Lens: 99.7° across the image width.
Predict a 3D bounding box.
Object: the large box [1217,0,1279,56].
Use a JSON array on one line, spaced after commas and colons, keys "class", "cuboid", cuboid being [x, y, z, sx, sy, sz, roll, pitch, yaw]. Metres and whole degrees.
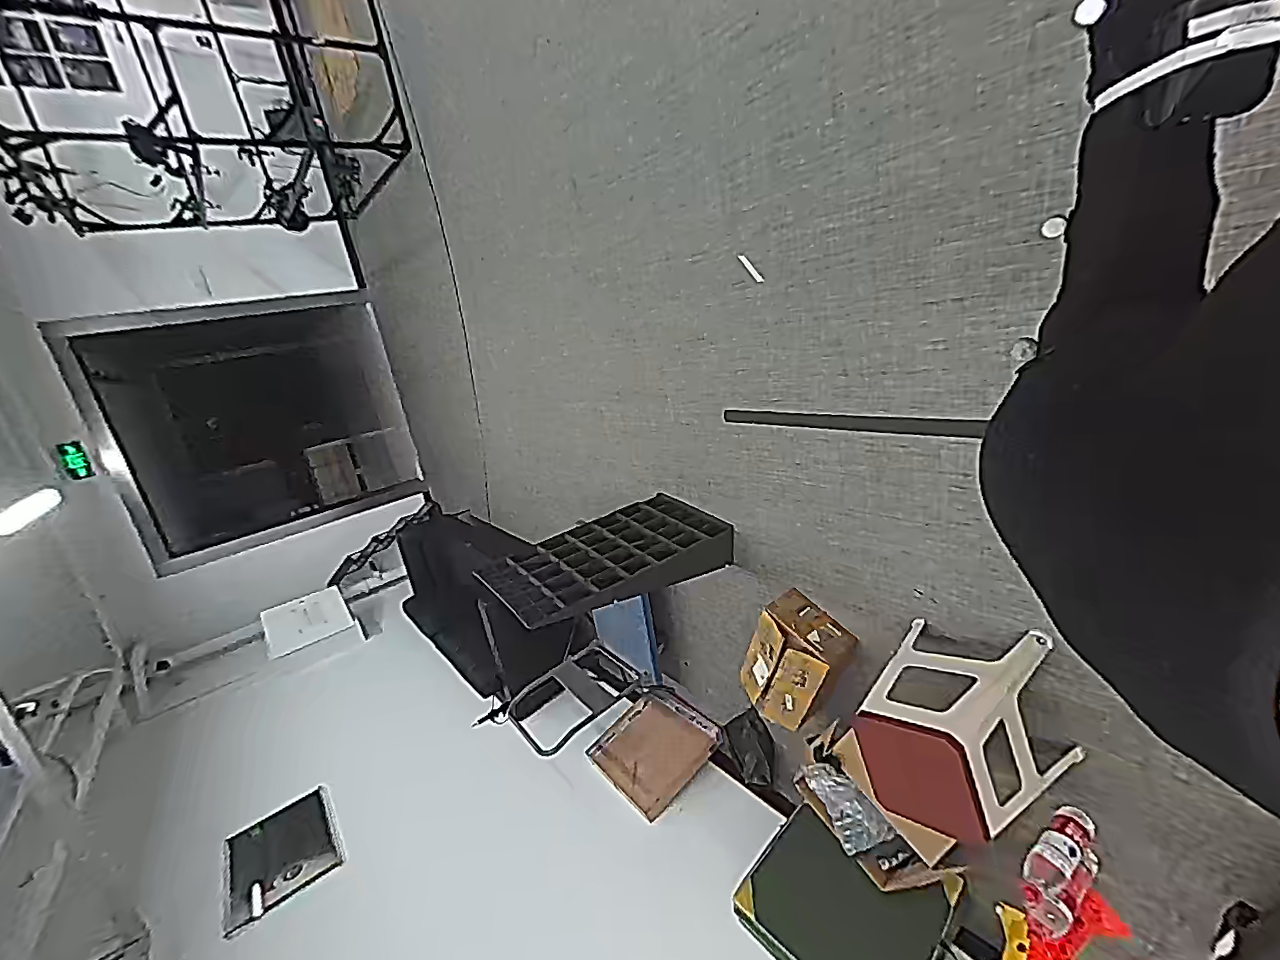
[{"class": "large box", "cuboid": [0.570, -0.475, 0.235, 0.408, 0.320, 0.320, 10, 117, 52]}]
